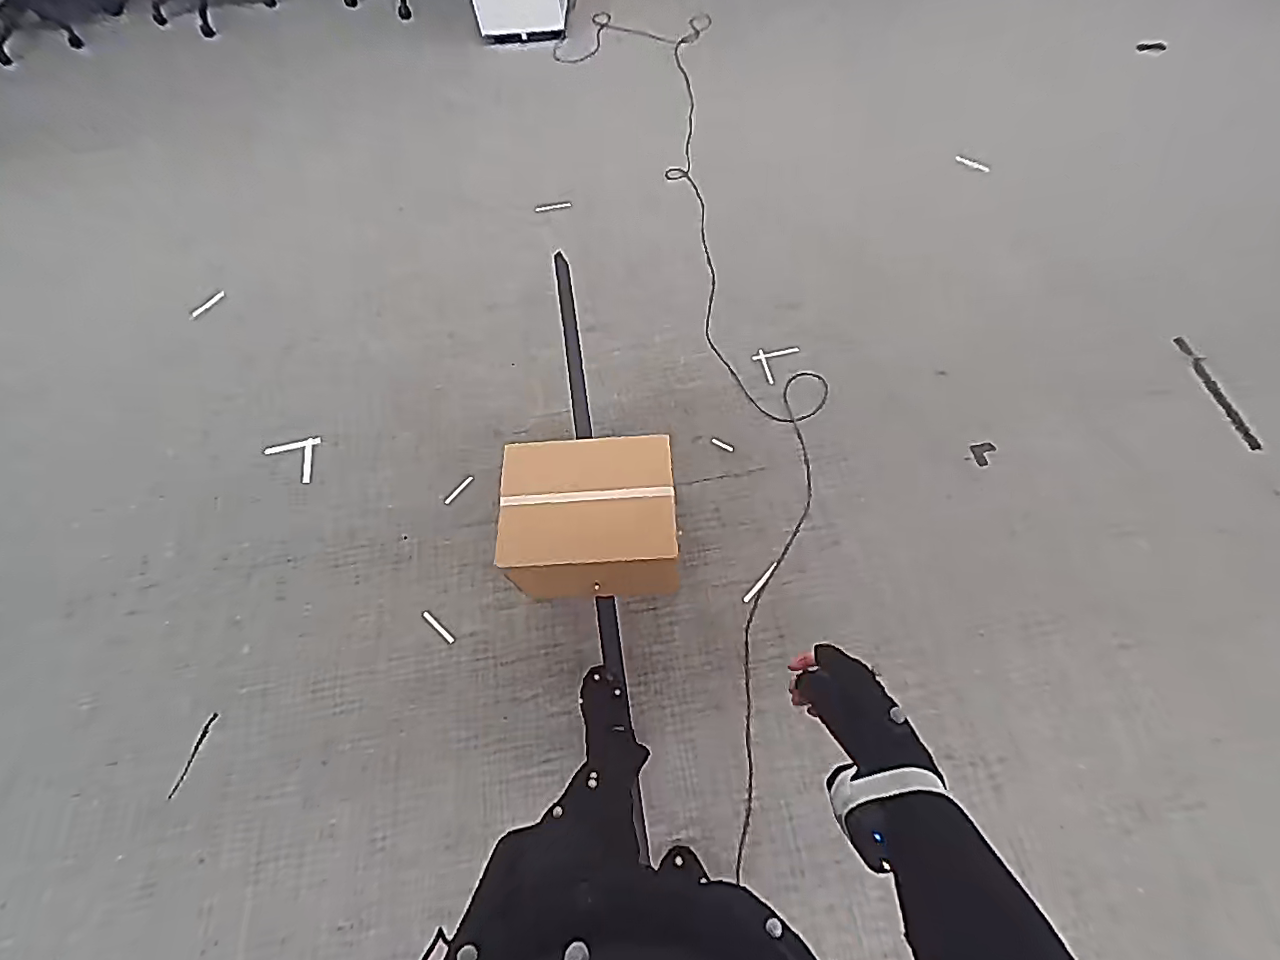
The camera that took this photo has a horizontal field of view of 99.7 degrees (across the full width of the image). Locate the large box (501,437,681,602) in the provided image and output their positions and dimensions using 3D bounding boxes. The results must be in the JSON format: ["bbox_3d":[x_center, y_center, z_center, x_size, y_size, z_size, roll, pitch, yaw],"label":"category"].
[{"bbox_3d":[-0.109,0.112,1.372,0.408,0.320,0.320,-3,65,2],"label":"large box"}]
